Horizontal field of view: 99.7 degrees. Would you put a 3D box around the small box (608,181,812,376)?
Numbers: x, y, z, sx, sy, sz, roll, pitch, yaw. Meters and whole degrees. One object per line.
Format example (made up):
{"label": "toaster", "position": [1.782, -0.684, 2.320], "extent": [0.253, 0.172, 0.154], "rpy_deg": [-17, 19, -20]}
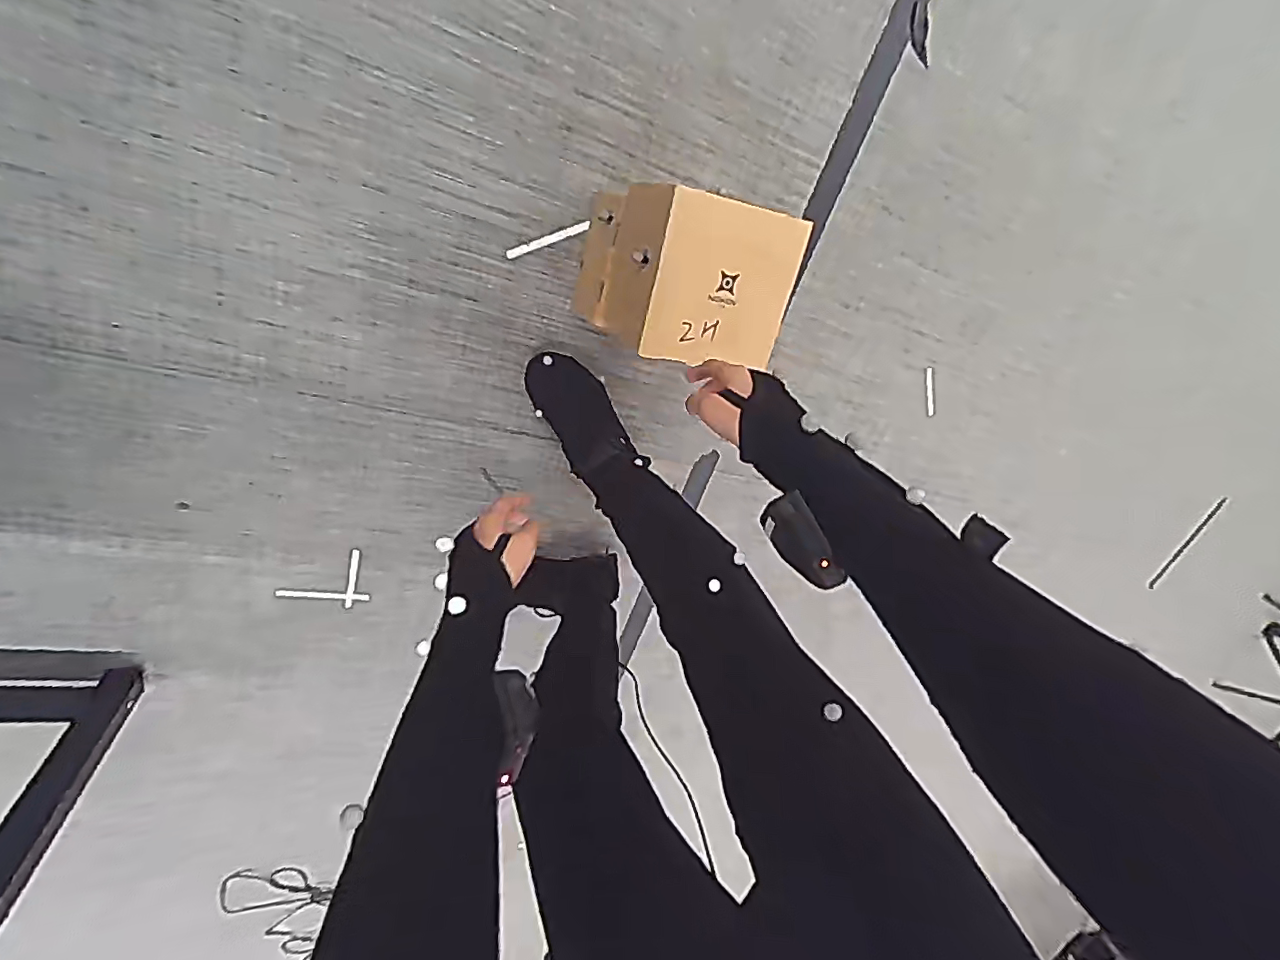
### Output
{"label": "small box", "position": [0.069, -0.247, 0.656], "extent": [0.168, 0.176, 0.179], "rpy_deg": [5, 118, -21]}
